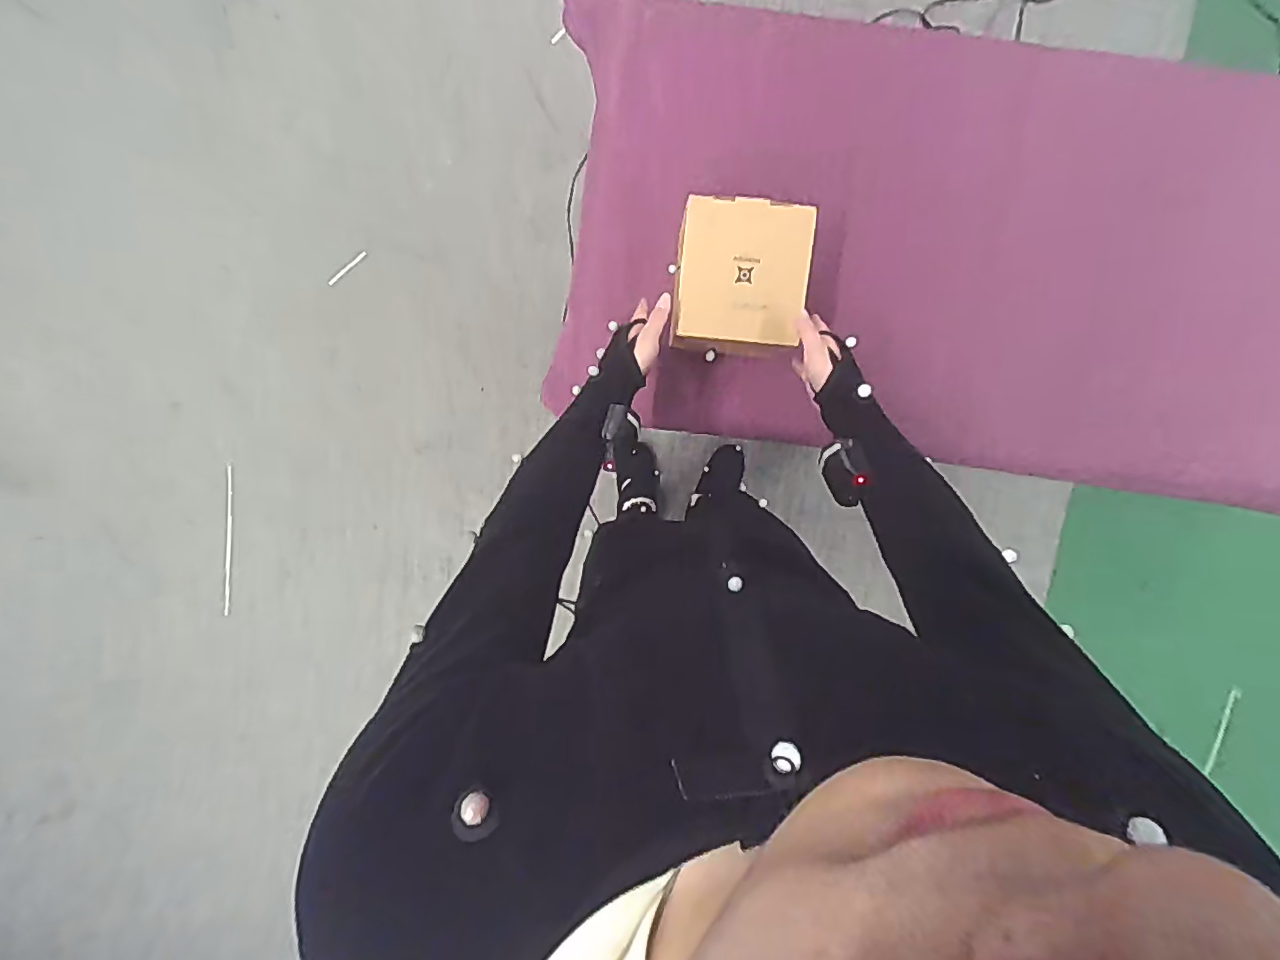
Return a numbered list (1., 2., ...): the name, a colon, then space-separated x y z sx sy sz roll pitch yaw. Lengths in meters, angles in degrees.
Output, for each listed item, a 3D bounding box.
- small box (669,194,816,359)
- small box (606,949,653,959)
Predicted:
1. small box: 0.133 -0.275 0.766 0.168 0.176 0.179 6 98 1
2. small box: -0.044 1.641 1.697 0.168 0.176 0.179 13 98 -1
